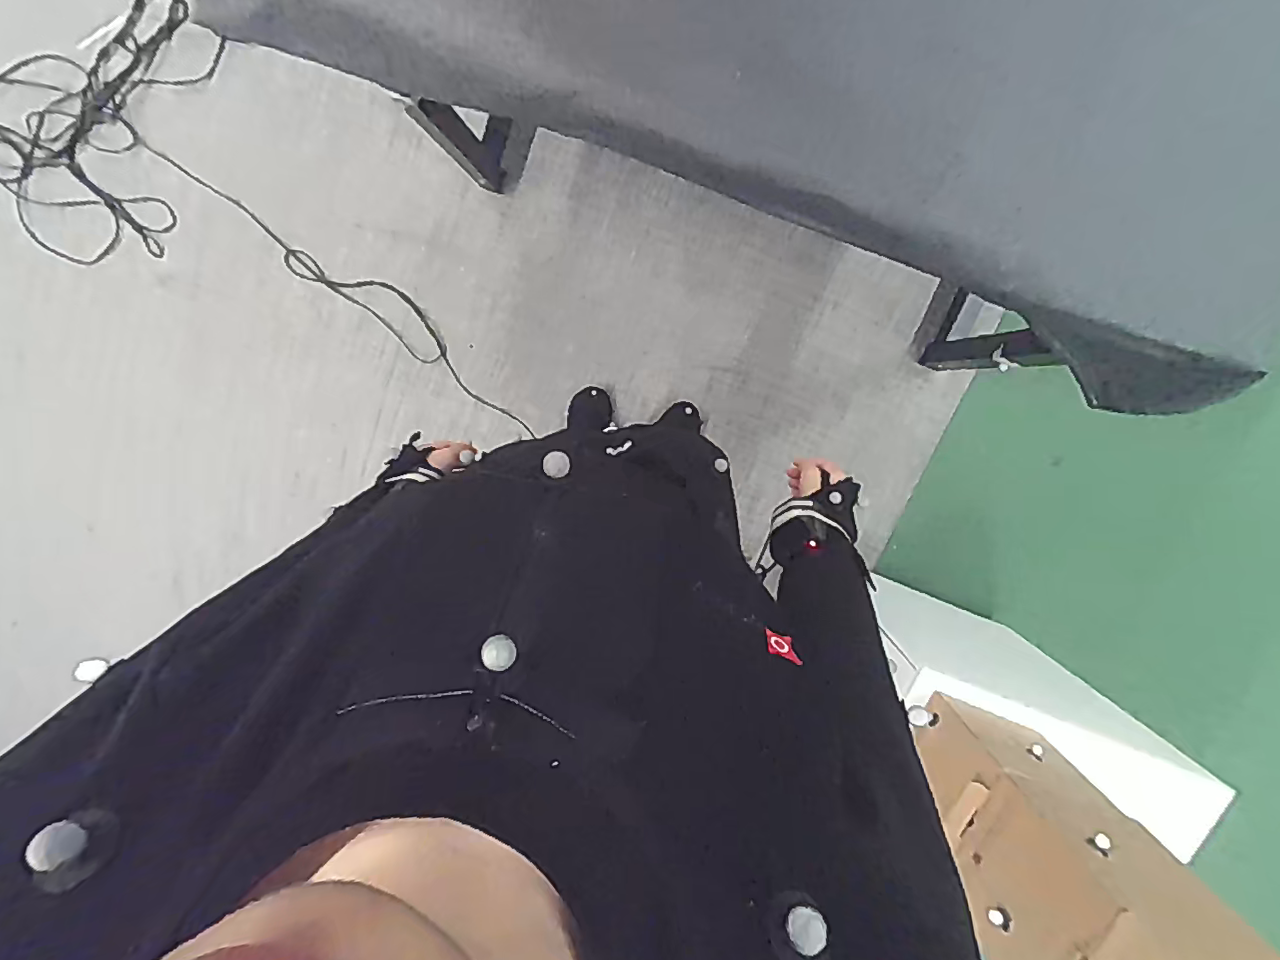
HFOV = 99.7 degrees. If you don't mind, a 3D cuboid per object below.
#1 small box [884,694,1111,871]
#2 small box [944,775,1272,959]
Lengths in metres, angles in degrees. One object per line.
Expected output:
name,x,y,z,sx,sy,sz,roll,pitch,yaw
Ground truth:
small box,0.475,0.429,0.748,0.179,0.176,0.168,22,101,-3
small box,0.478,0.461,0.589,0.179,0.176,0.168,20,103,-3
